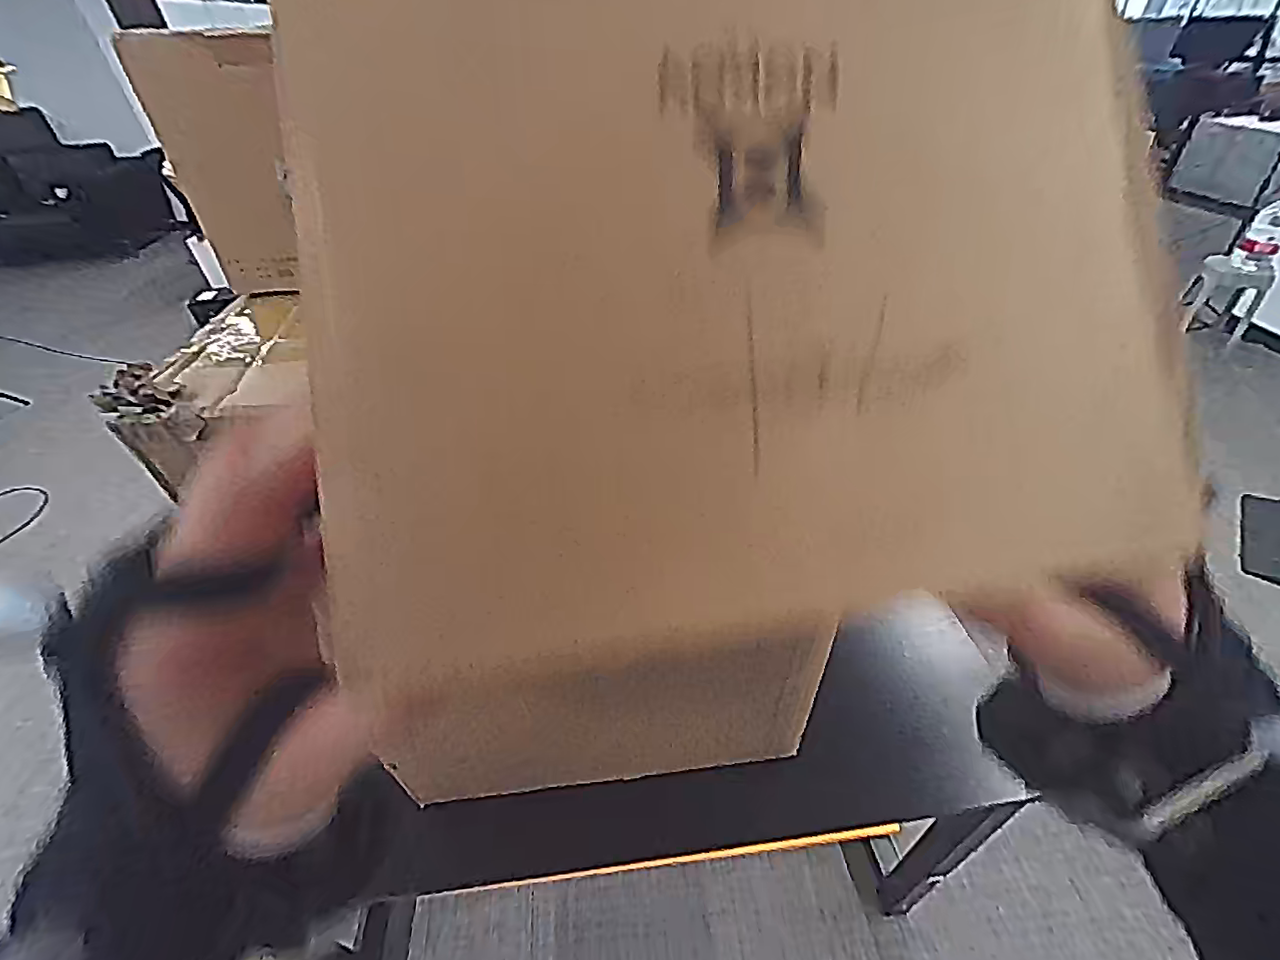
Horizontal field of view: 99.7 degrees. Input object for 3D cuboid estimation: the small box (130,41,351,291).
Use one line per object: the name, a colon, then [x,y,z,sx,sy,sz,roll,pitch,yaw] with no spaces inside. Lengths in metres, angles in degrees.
small box: [-0.260,-0.272,0.471,0.168,0.176,0.179,-5,39,-4]
